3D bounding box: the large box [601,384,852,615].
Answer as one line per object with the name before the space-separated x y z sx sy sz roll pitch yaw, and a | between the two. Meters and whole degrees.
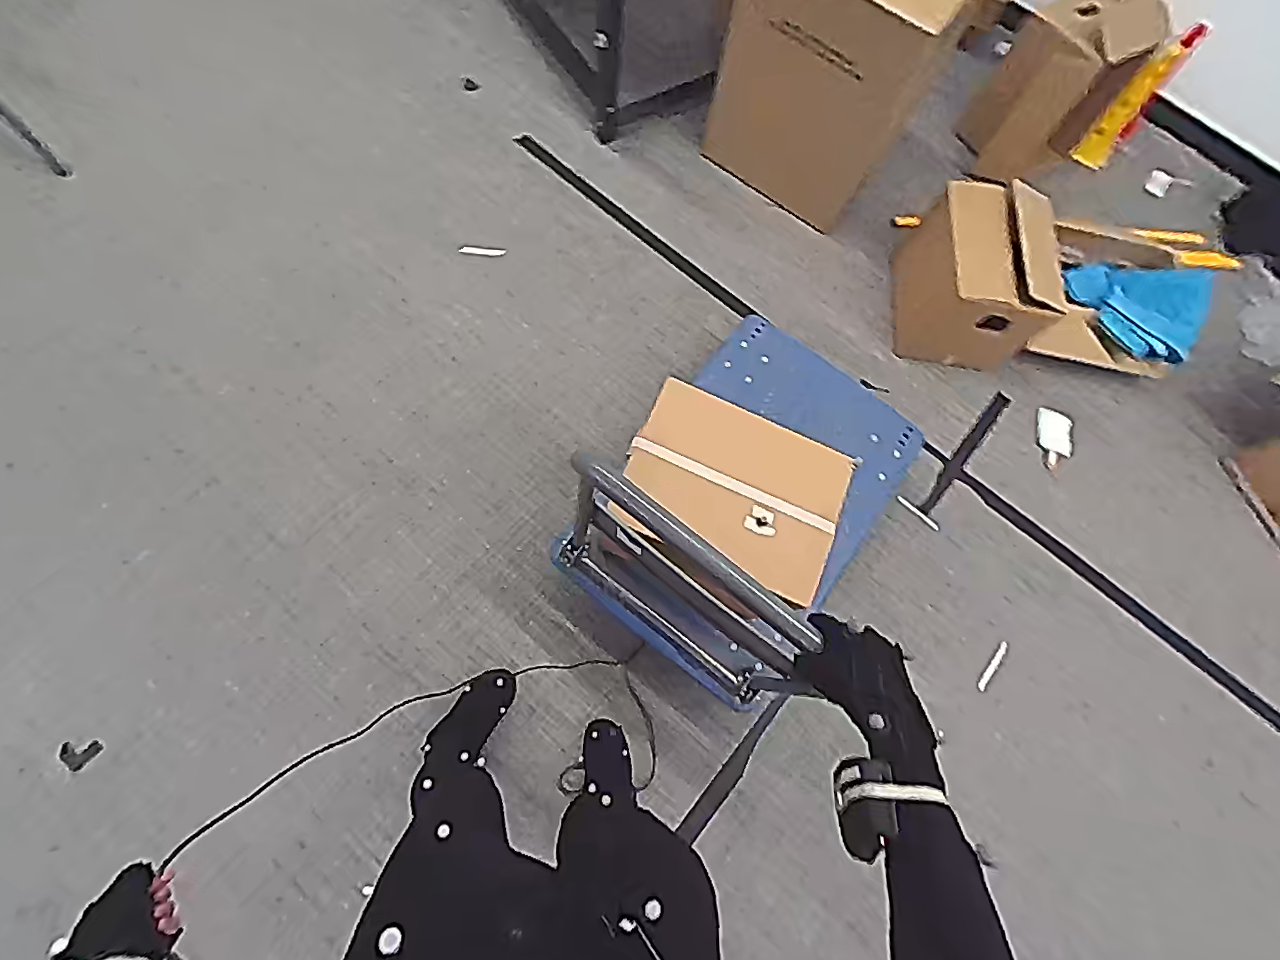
large box | 0.162 0.060 1.157 0.408 0.320 0.320 24 72 1
